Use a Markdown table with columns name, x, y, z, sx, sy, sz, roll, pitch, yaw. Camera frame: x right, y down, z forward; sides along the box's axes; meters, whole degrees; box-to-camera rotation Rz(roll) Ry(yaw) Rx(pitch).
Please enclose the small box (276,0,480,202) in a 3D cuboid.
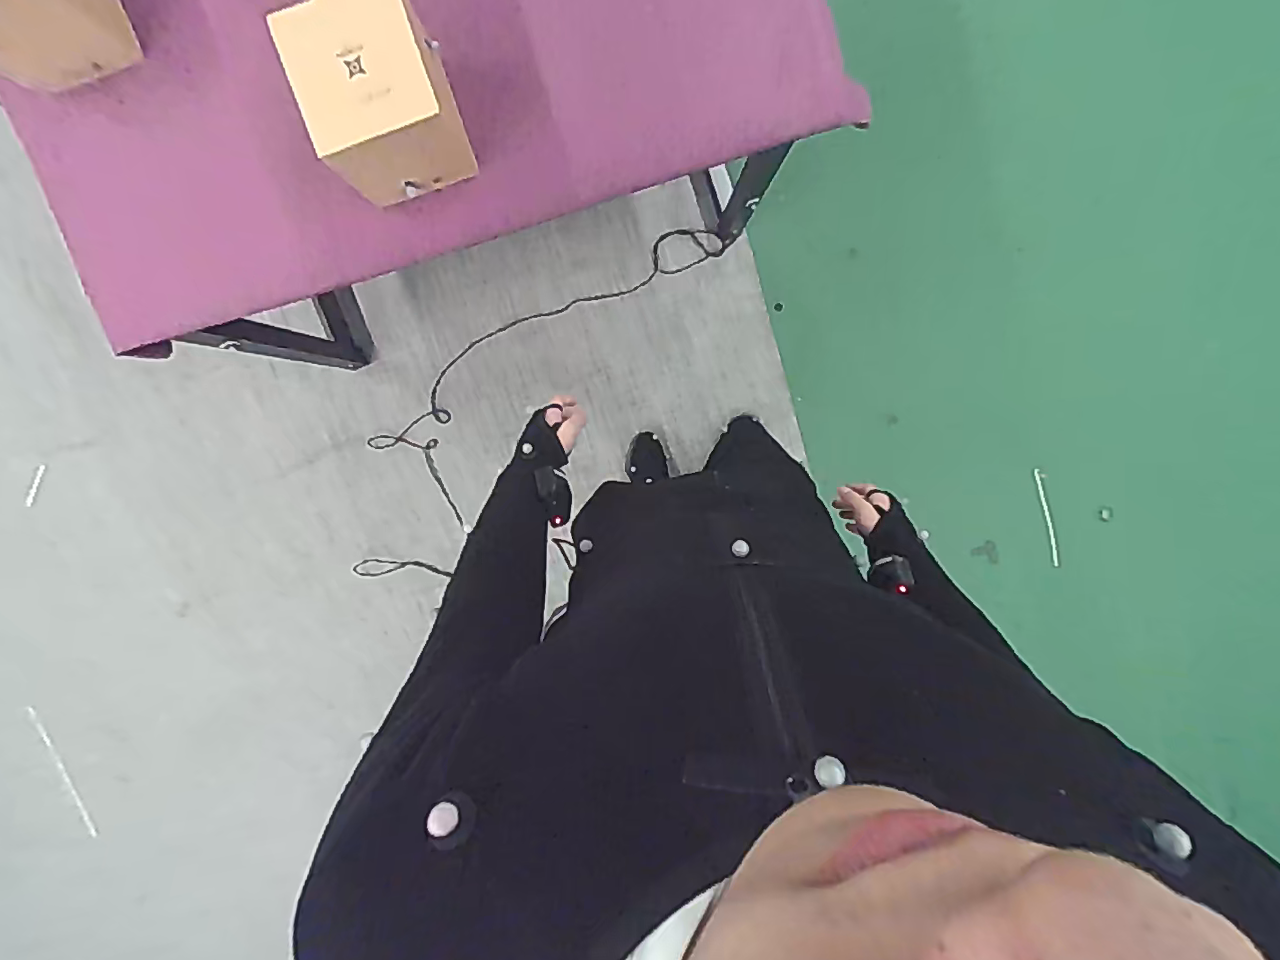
| name | x | y | z | sx | sy | sz | roll | pitch | yaw |
| --- | --- | --- | --- | --- | --- | --- | --- | --- | --- |
| small box | -0.347 | -0.526 | 0.751 | 0.168 | 0.176 | 0.179 | -18 | 96 | 4 |
